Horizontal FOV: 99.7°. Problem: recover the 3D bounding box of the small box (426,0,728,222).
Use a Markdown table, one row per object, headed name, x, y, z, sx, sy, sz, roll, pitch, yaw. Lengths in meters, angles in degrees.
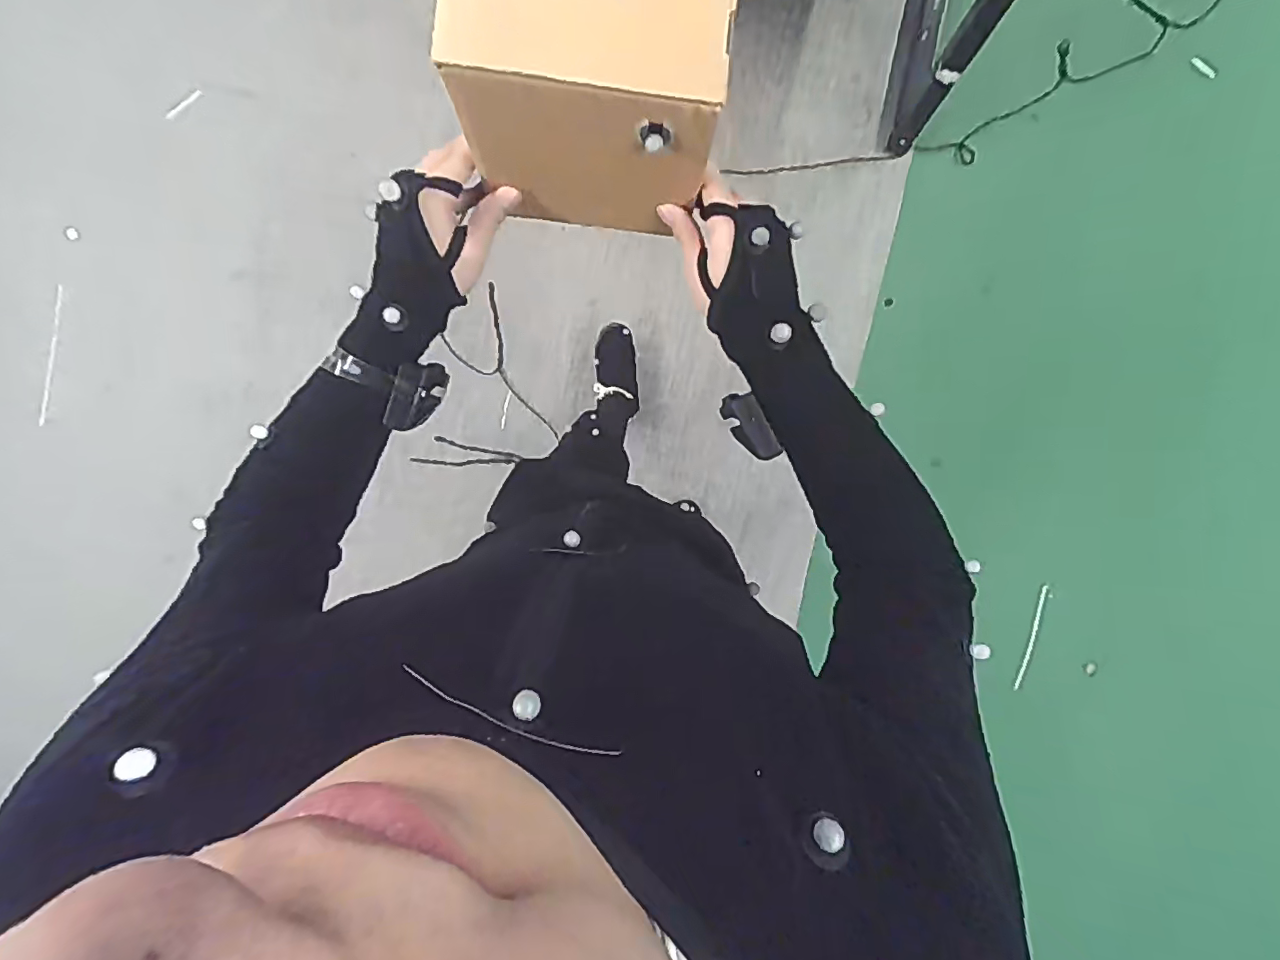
| name | x | y | z | sx | sy | sz | roll | pitch | yaw |
| --- | --- | --- | --- | --- | --- | --- | --- | --- | --- |
| small box | -0.035 | -0.315 | 0.398 | 0.179 | 0.176 | 0.168 | 5 | 88 | -4 |
